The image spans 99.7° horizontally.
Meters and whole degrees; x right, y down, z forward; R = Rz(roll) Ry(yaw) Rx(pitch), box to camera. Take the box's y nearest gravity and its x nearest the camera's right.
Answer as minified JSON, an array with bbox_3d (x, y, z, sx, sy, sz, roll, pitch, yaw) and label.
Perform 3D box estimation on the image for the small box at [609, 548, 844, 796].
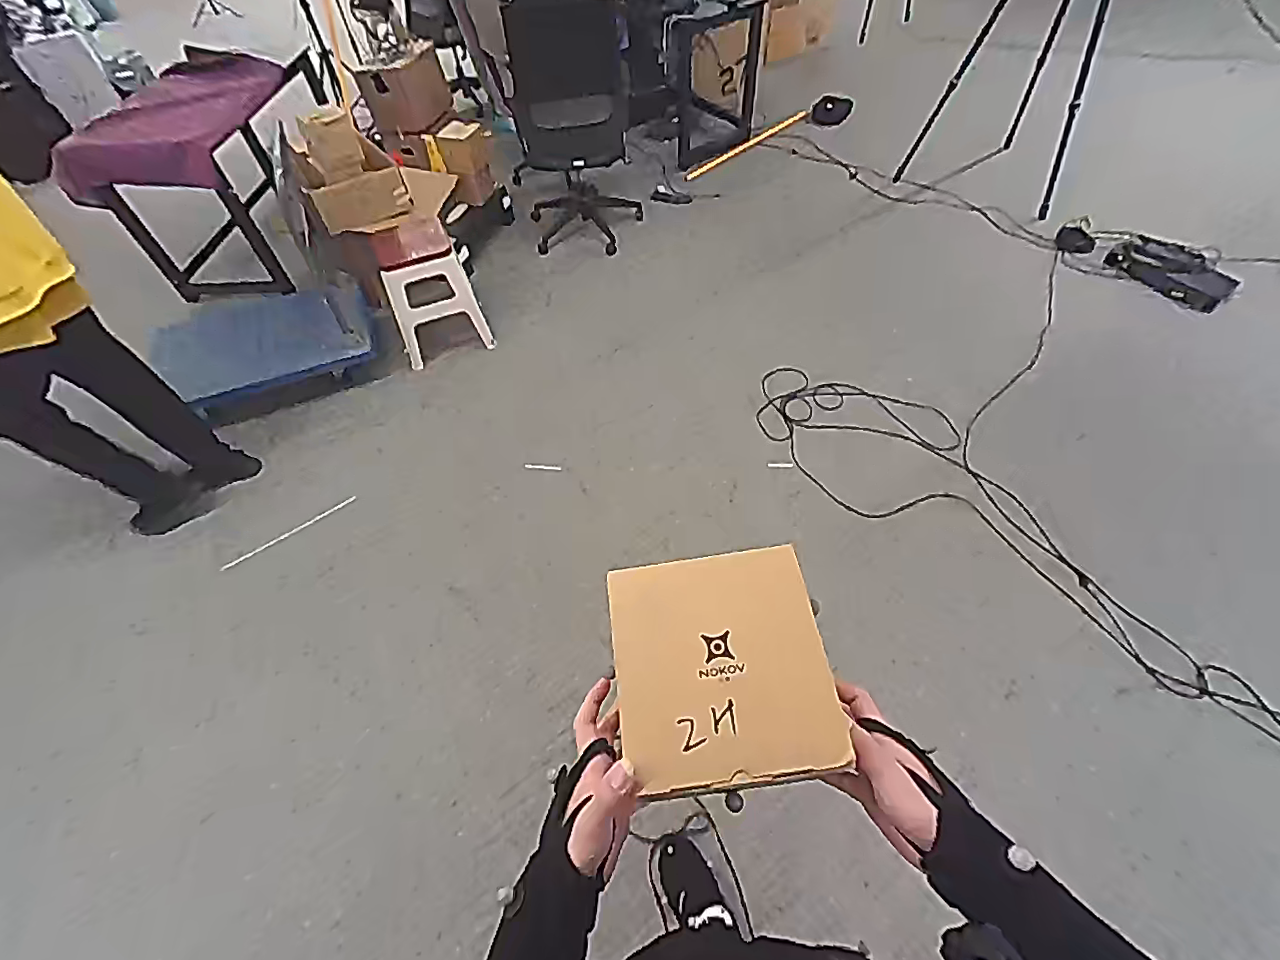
[{"bbox_3d":[0.066,0.184,0.502,0.168,0.176,0.179,-8,59,2],"label":"small box"}]
